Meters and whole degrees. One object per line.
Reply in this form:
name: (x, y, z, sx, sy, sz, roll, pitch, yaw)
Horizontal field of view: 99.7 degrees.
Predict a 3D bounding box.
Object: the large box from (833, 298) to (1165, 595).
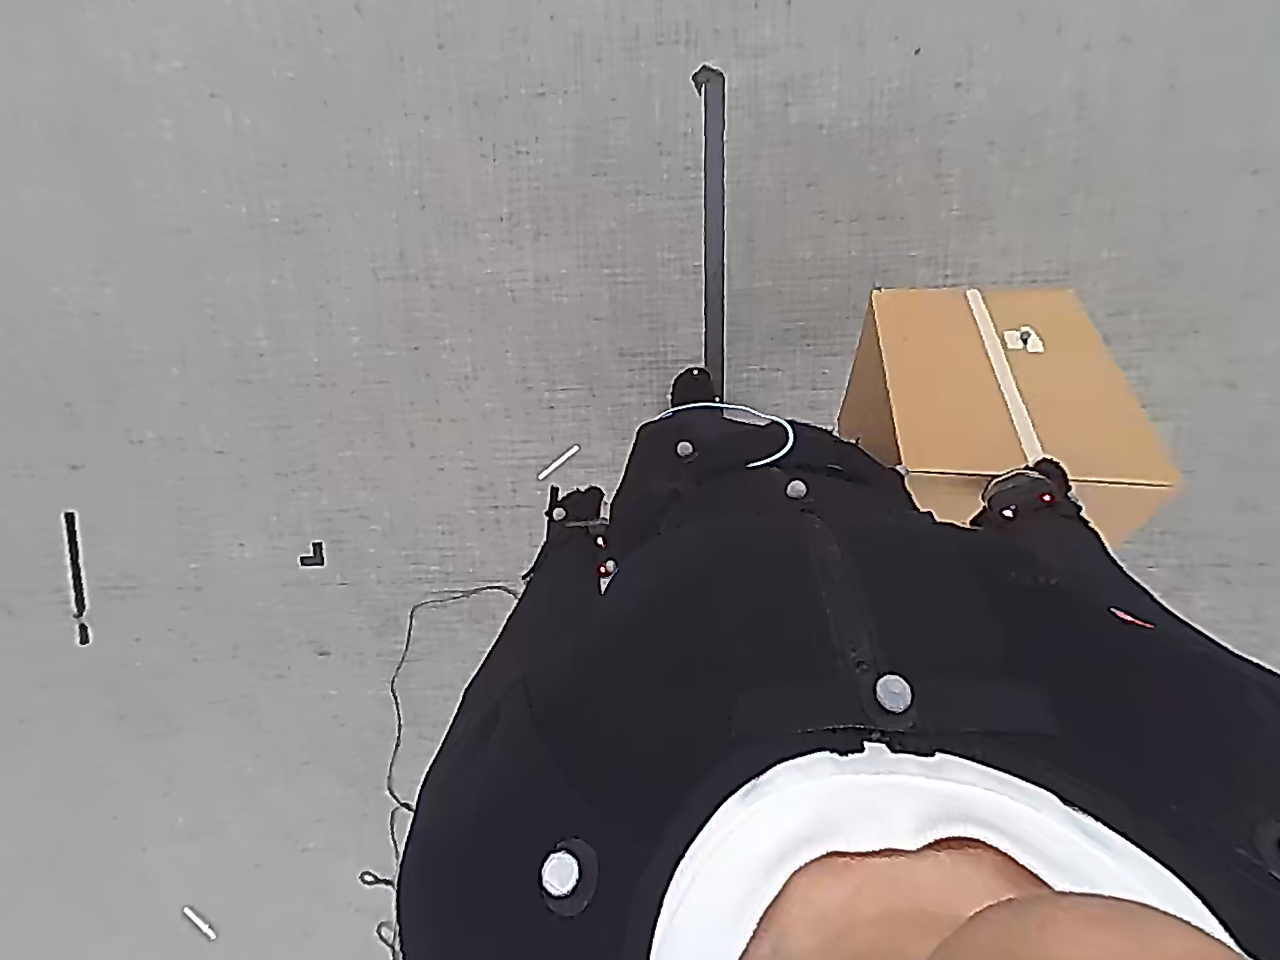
large box: (0.527, -0.059, 0.913, 0.320, 0.408, 0.320, 4, 140, 8)
